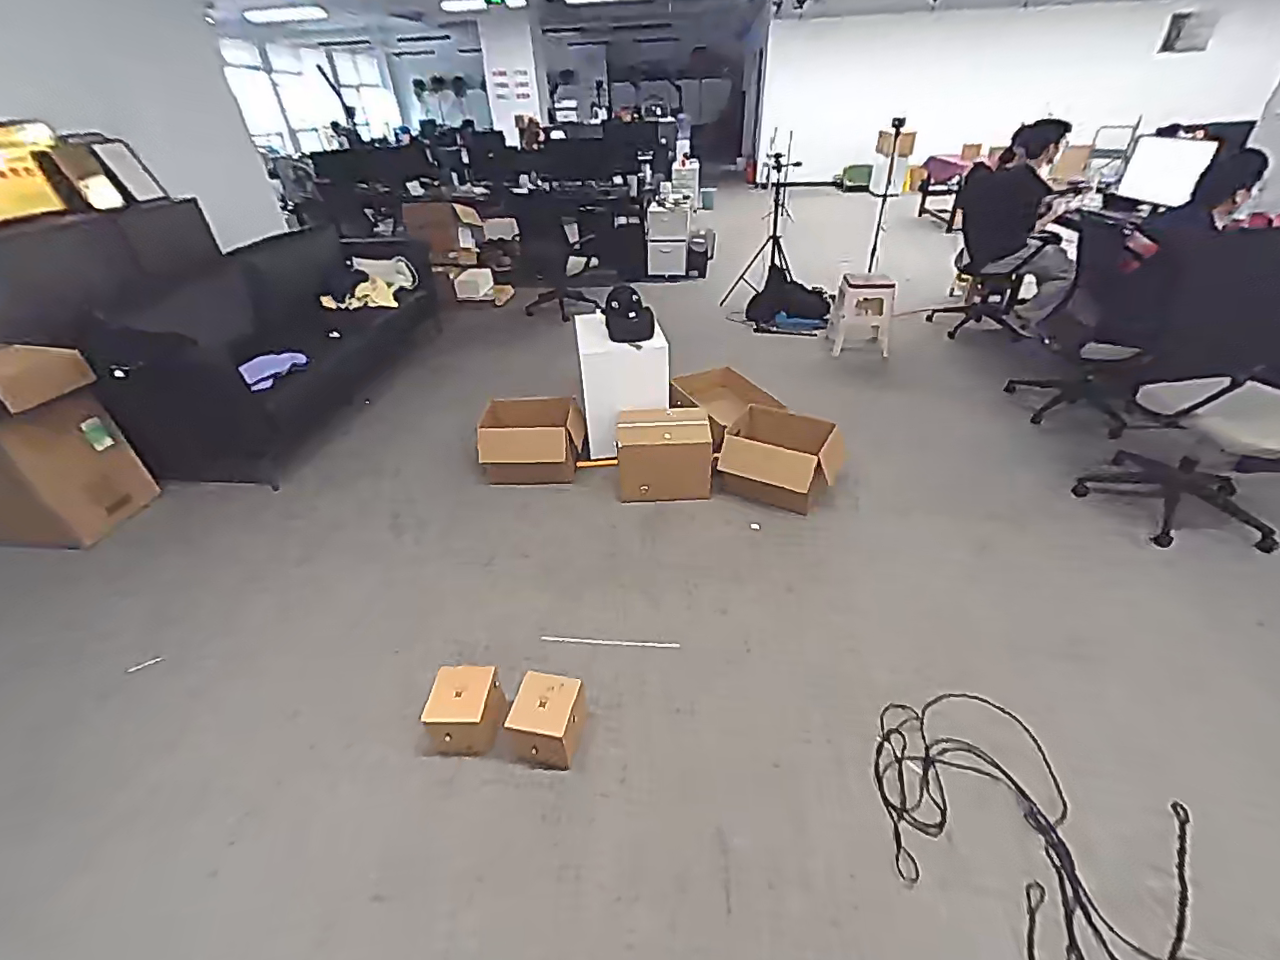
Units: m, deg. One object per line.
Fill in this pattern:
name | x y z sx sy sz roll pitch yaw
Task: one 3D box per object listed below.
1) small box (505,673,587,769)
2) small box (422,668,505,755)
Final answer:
small box | -0.254 0.678 1.515 0.168 0.176 0.179 5 36 11
small box | -0.497 0.666 1.552 0.168 0.176 0.179 -1 35 3
